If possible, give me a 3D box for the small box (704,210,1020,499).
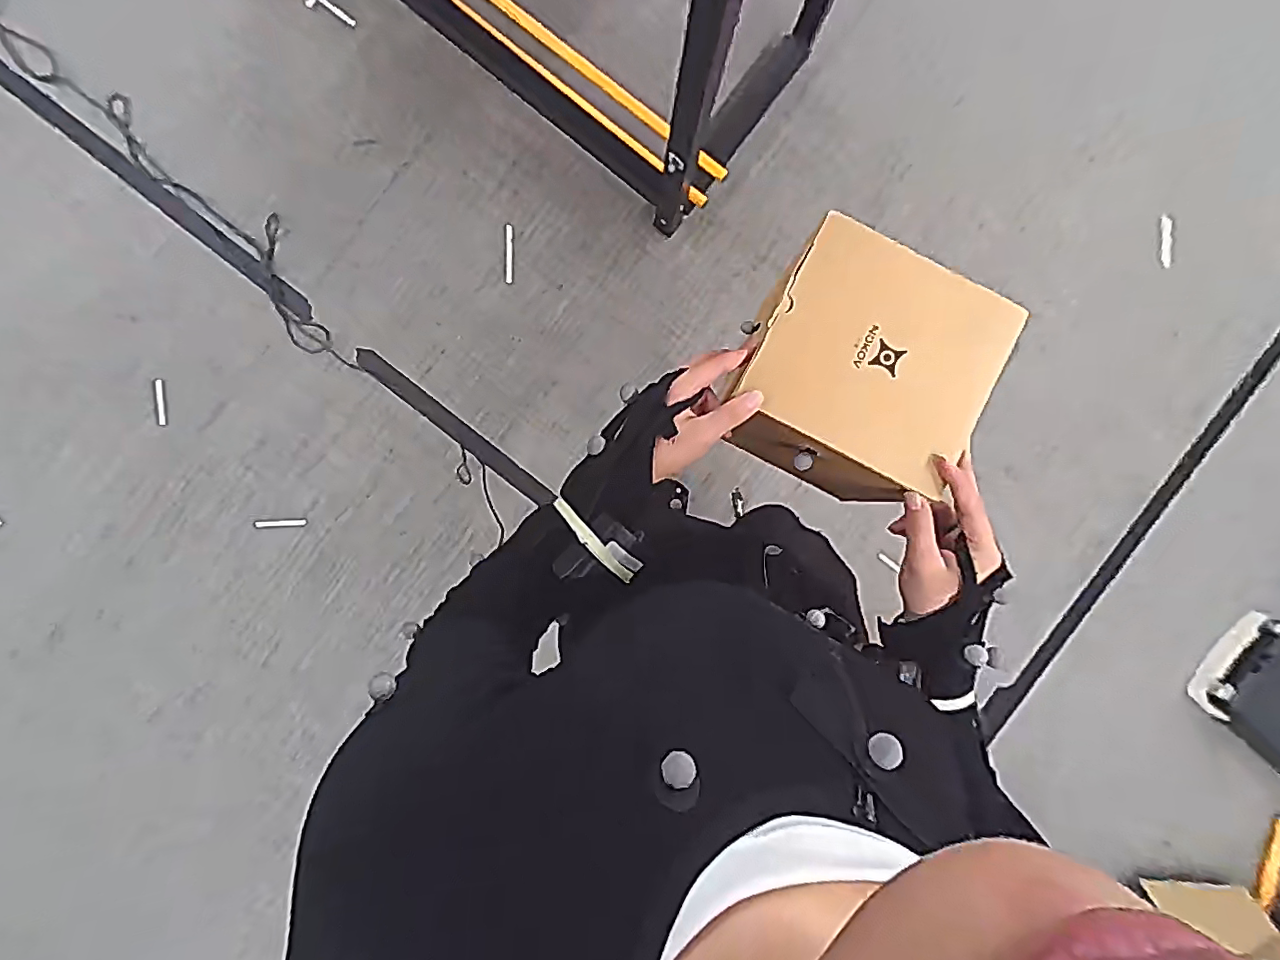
[{"bbox_3d":[0.177,-0.095,0.489,0.179,0.176,0.168,26,88,0],"label":"small box"}]

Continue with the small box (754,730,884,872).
[{"bbox_3d":[0.369,0.668,1.153,0.179,0.176,0.168,32,91,-4],"label":"small box"}]
